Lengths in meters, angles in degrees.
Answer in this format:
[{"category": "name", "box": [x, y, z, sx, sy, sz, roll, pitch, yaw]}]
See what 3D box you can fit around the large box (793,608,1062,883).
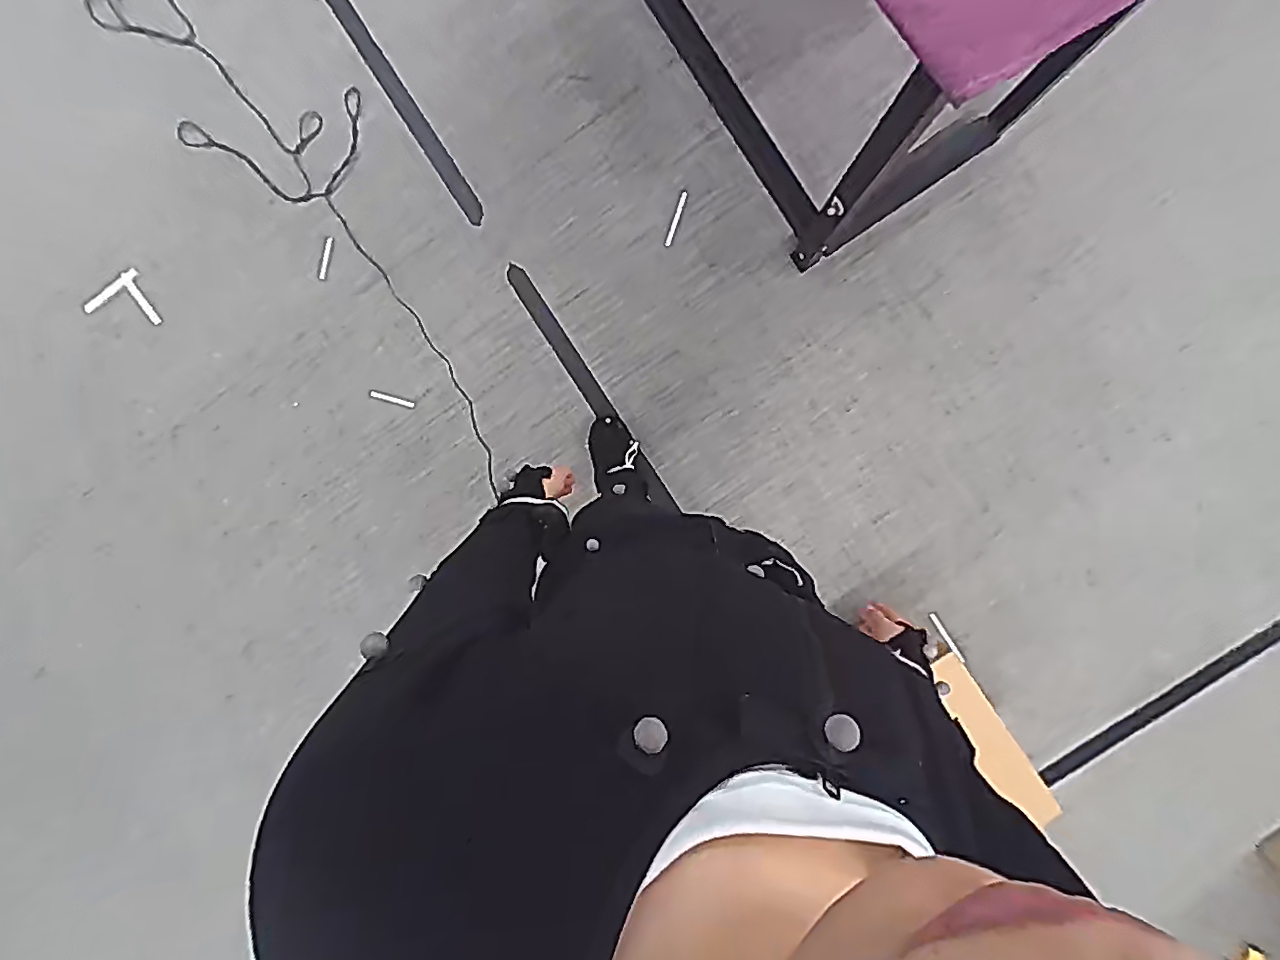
[{"category": "large box", "box": [0.620, 0.575, 1.240, 0.320, 0.320, 0.408, -35, 90, 2]}]
